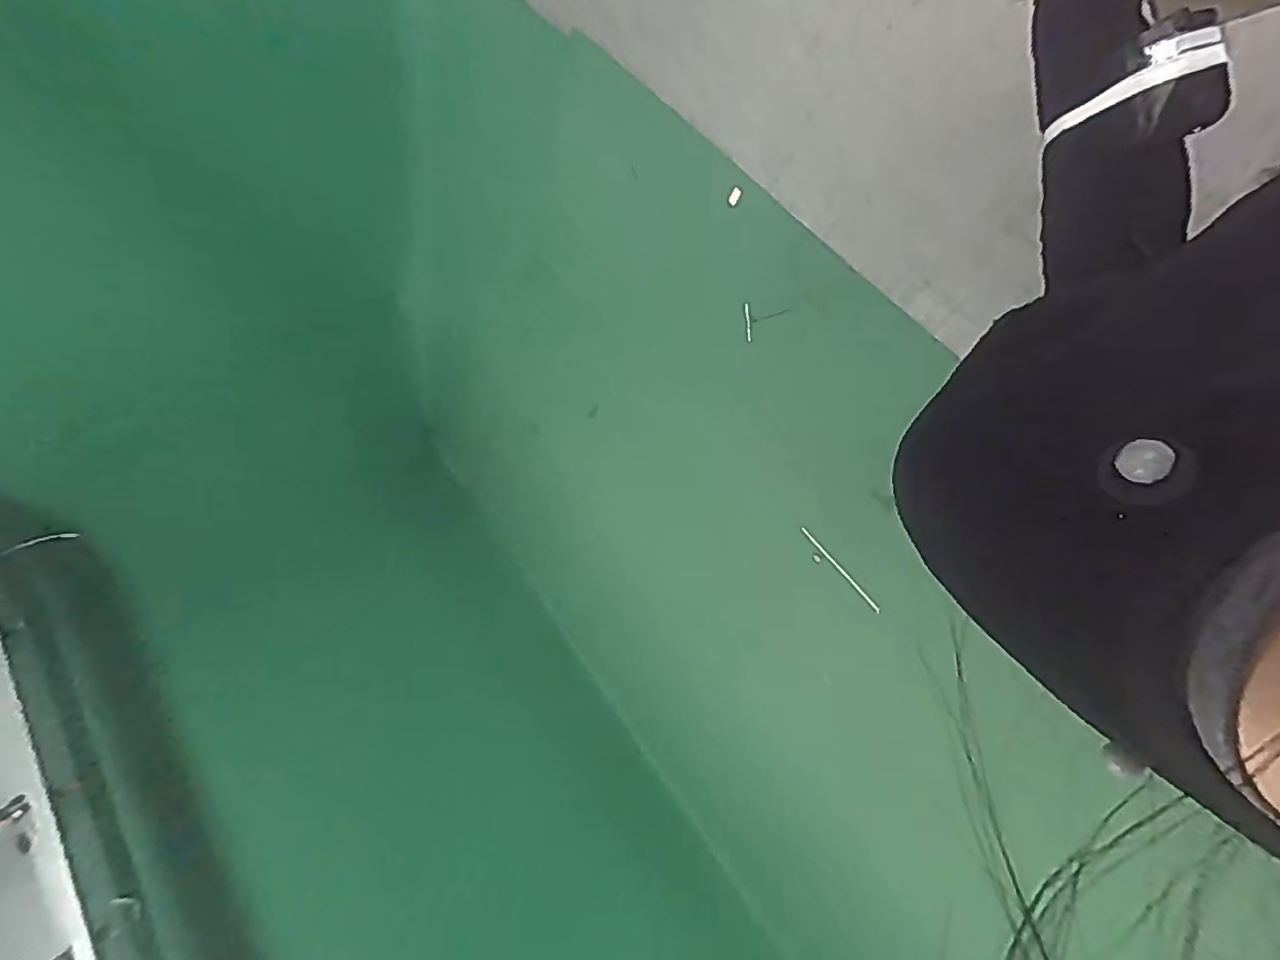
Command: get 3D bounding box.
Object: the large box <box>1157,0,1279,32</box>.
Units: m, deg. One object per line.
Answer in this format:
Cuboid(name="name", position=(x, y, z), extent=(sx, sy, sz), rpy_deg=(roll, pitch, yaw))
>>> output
Cuboid(name="large box", position=(0.536, -0.496, 0.248), extent=(0.408, 0.320, 0.320), rpy_deg=(10, 118, 44))
